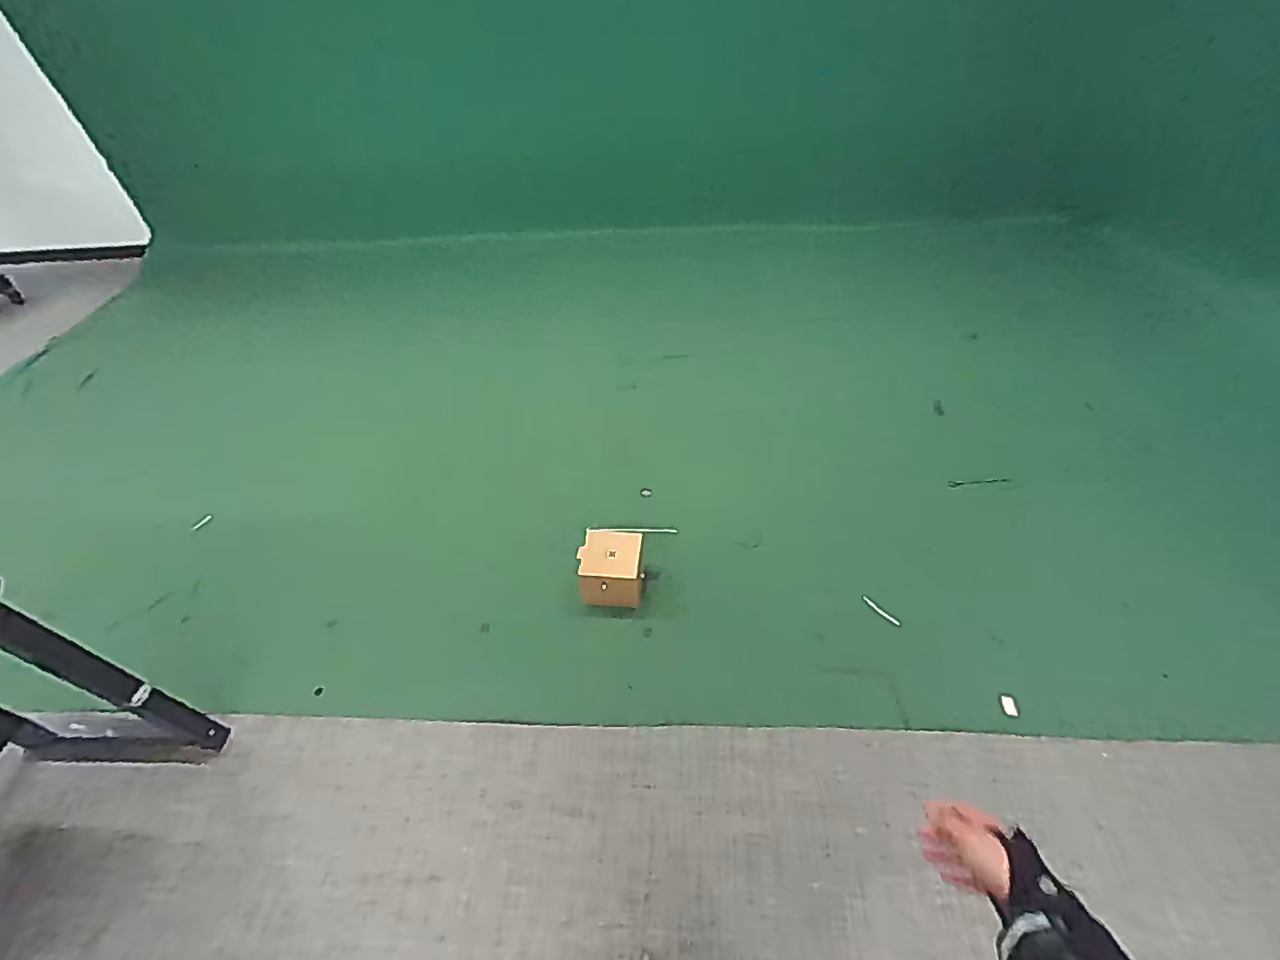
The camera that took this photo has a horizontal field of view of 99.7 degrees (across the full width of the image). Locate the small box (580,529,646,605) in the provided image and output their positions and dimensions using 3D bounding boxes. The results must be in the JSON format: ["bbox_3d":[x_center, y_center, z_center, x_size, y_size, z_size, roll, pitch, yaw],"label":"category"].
[{"bbox_3d":[-0.076,0.271,1.671,0.179,0.176,0.168,2,48,7],"label":"small box"}]
